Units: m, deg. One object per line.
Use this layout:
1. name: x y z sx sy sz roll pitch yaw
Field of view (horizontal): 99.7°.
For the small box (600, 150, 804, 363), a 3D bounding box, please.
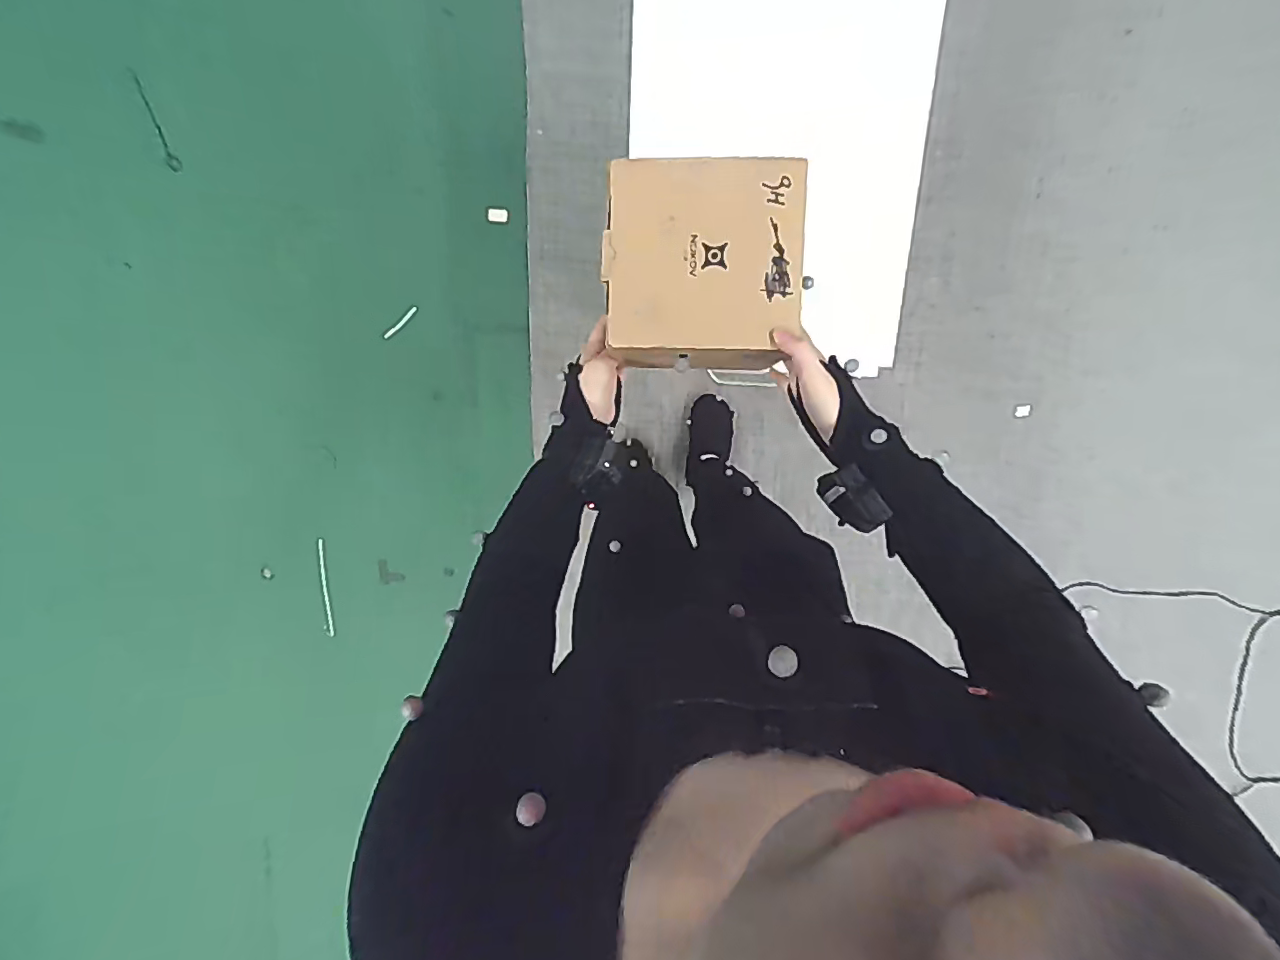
1. small box: 0.059 -0.214 0.560 0.179 0.176 0.168 2 96 4
